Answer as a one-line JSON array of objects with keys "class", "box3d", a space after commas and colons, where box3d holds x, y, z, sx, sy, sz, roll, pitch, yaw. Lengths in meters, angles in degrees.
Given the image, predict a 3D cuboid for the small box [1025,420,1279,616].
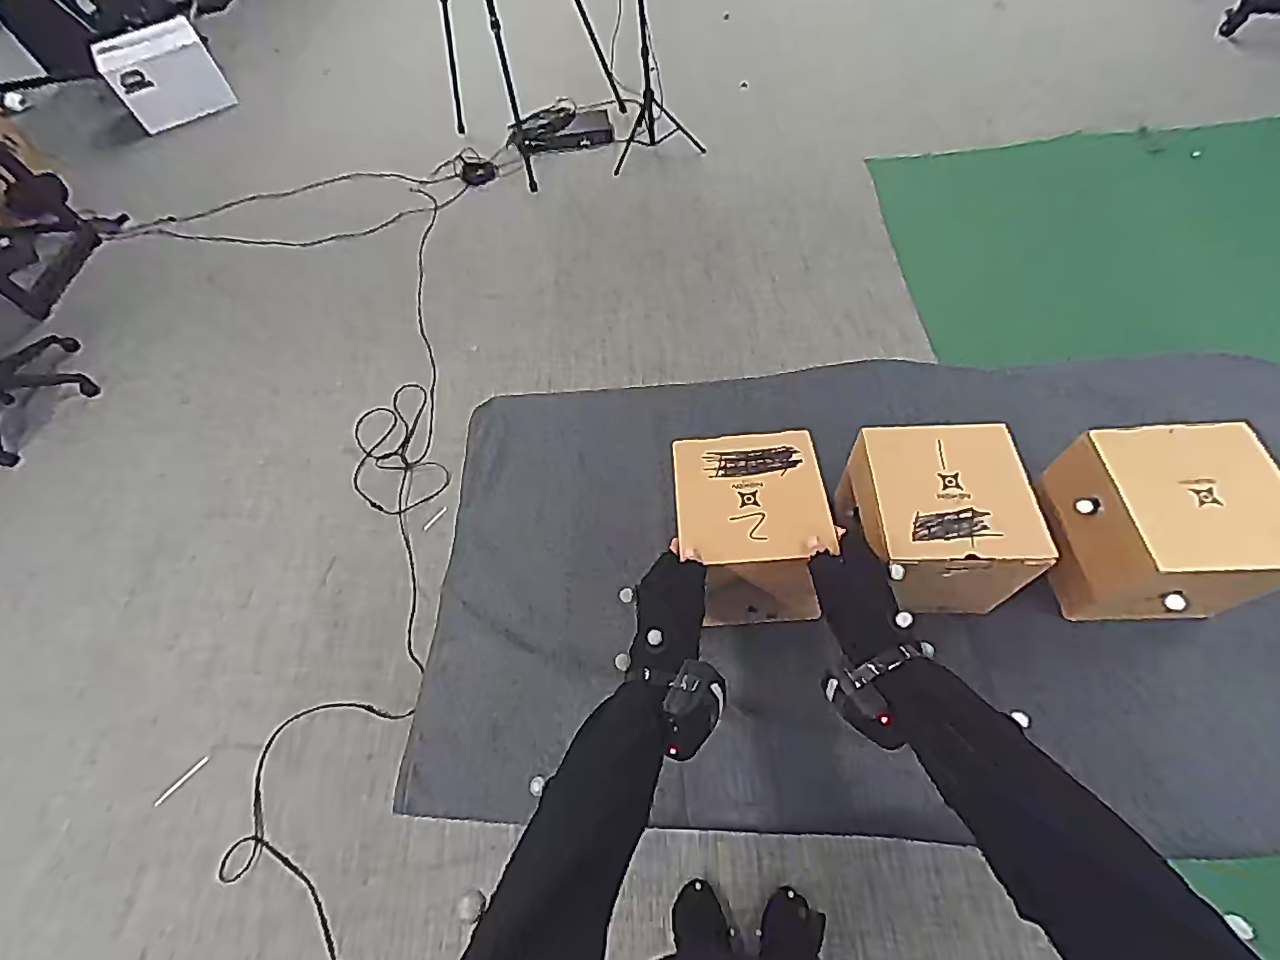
[{"class": "small box", "box3d": [0.597, 0.053, 0.627, 0.168, 0.176, 0.179, -3, 58, 6]}]
